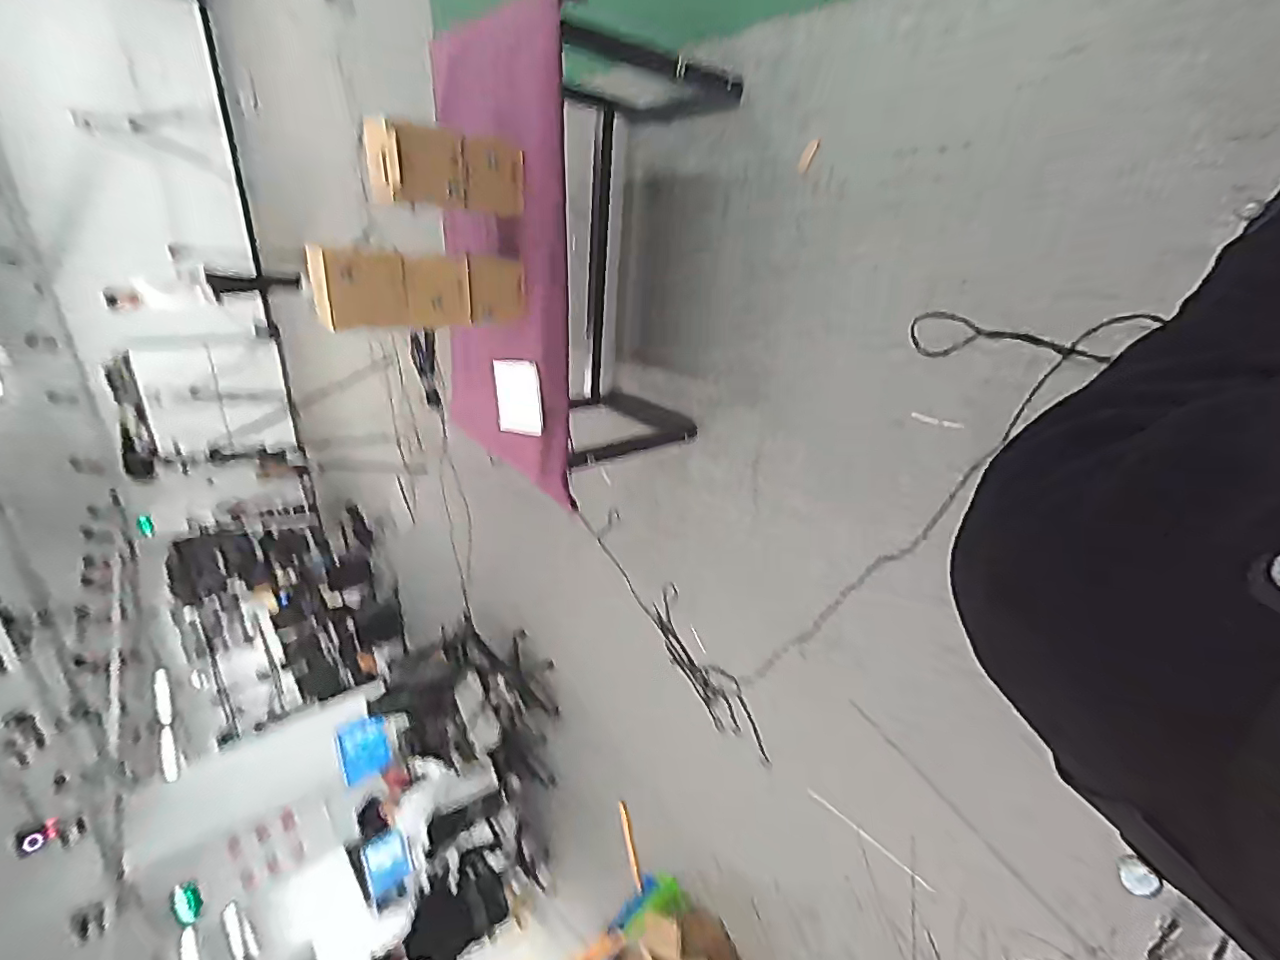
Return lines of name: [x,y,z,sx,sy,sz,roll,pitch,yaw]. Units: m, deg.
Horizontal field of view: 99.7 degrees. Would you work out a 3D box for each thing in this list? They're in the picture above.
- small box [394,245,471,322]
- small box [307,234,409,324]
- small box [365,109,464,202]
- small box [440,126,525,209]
small box: [-0.546,-0.512,1.397,0.179,0.176,0.168,31,126,42]
small box: [-0.668,-0.480,1.290,0.168,0.176,0.179,33,128,42]
small box: [-0.528,-0.763,1.283,0.179,0.176,0.168,29,124,44]
small box: [-0.407,-0.796,1.388,0.179,0.176,0.168,31,125,42]
